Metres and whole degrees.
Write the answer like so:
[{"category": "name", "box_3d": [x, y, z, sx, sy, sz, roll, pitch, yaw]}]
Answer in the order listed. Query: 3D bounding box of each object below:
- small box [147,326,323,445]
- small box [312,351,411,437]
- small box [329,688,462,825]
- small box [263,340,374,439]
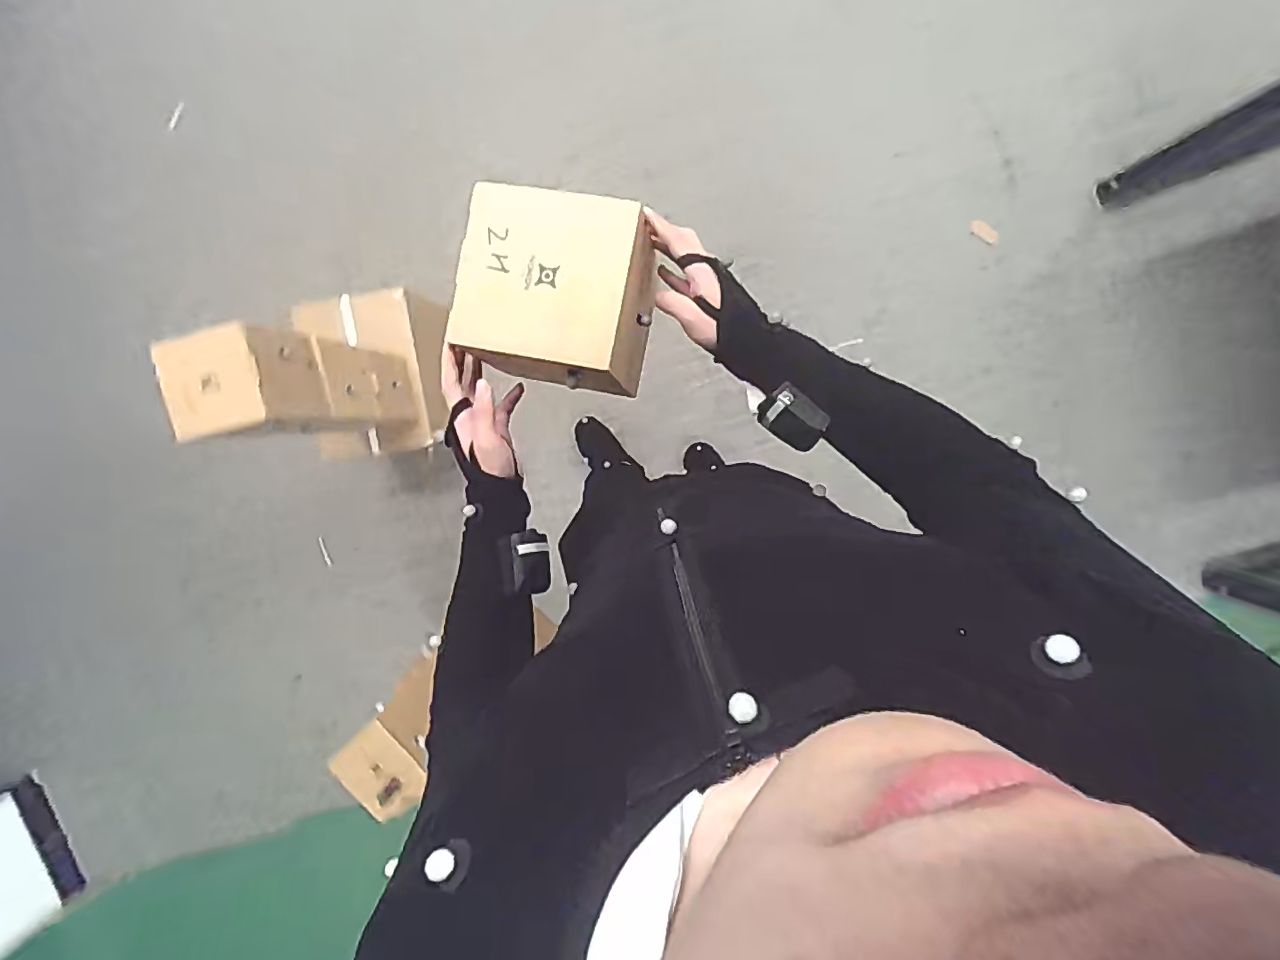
[{"category": "small box", "box_3d": [-0.705, -0.165, 0.968, 0.179, 0.176, 0.168, -13, 95, 7]}, {"category": "small box", "box_3d": [-0.672, -0.202, 1.290, 0.179, 0.176, 0.168, -12, 95, 5]}, {"category": "small box", "box_3d": [-0.533, 0.606, 1.206, 0.168, 0.176, 0.179, -43, 91, 9]}, {"category": "small box", "box_3d": [-0.686, -0.186, 1.129, 0.179, 0.176, 0.168, -12, 96, 7]}]
